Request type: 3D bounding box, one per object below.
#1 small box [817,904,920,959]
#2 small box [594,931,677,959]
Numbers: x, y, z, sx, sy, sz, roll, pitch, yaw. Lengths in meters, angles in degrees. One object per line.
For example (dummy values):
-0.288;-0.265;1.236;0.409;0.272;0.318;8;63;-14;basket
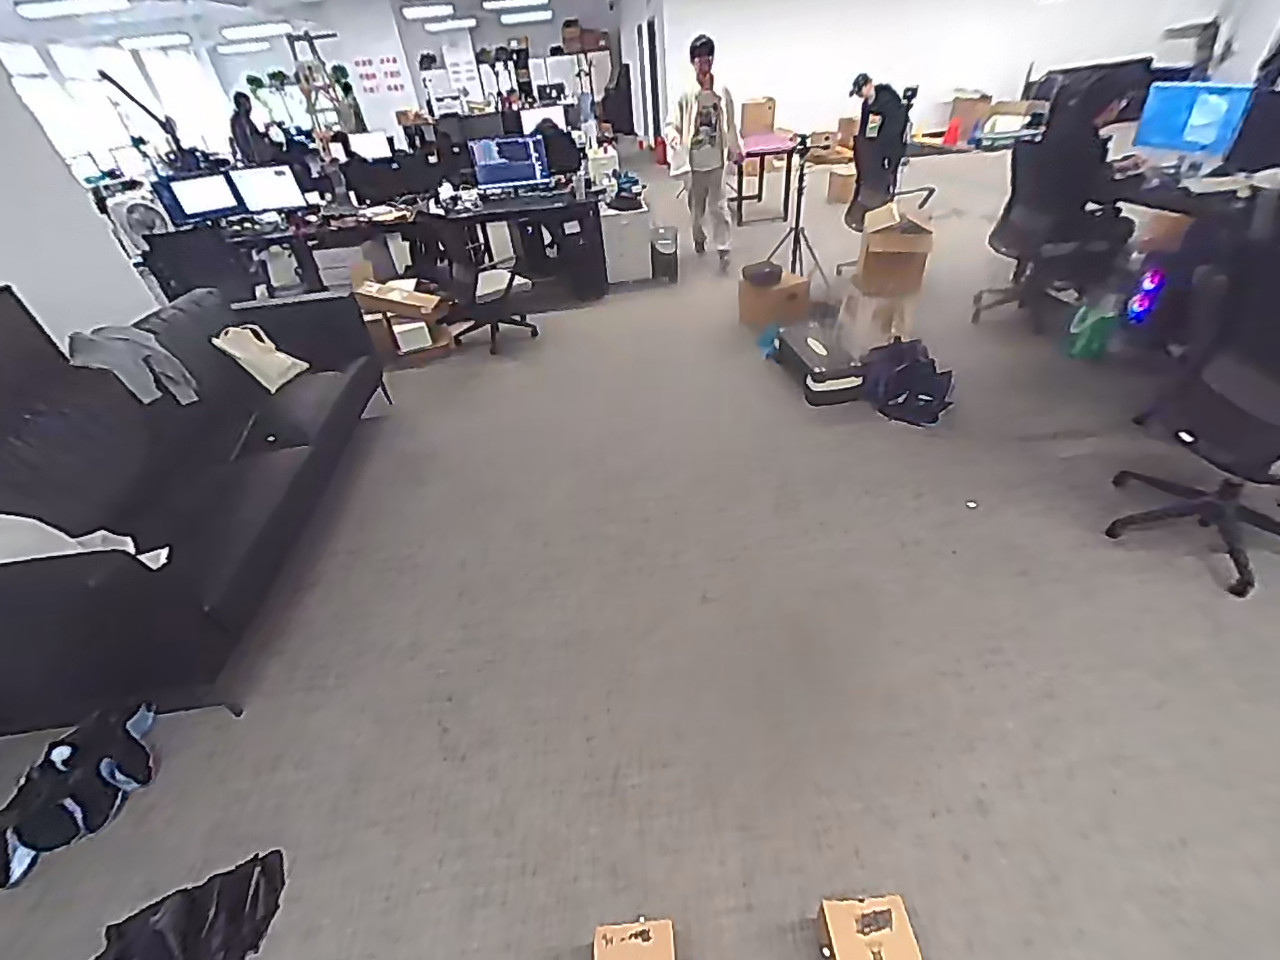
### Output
0.471;1.002;1.101;0.168;0.176;0.179;-7;38;1;small box
-0.002;1.058;1.101;0.168;0.176;0.179;-6;36;1;small box
